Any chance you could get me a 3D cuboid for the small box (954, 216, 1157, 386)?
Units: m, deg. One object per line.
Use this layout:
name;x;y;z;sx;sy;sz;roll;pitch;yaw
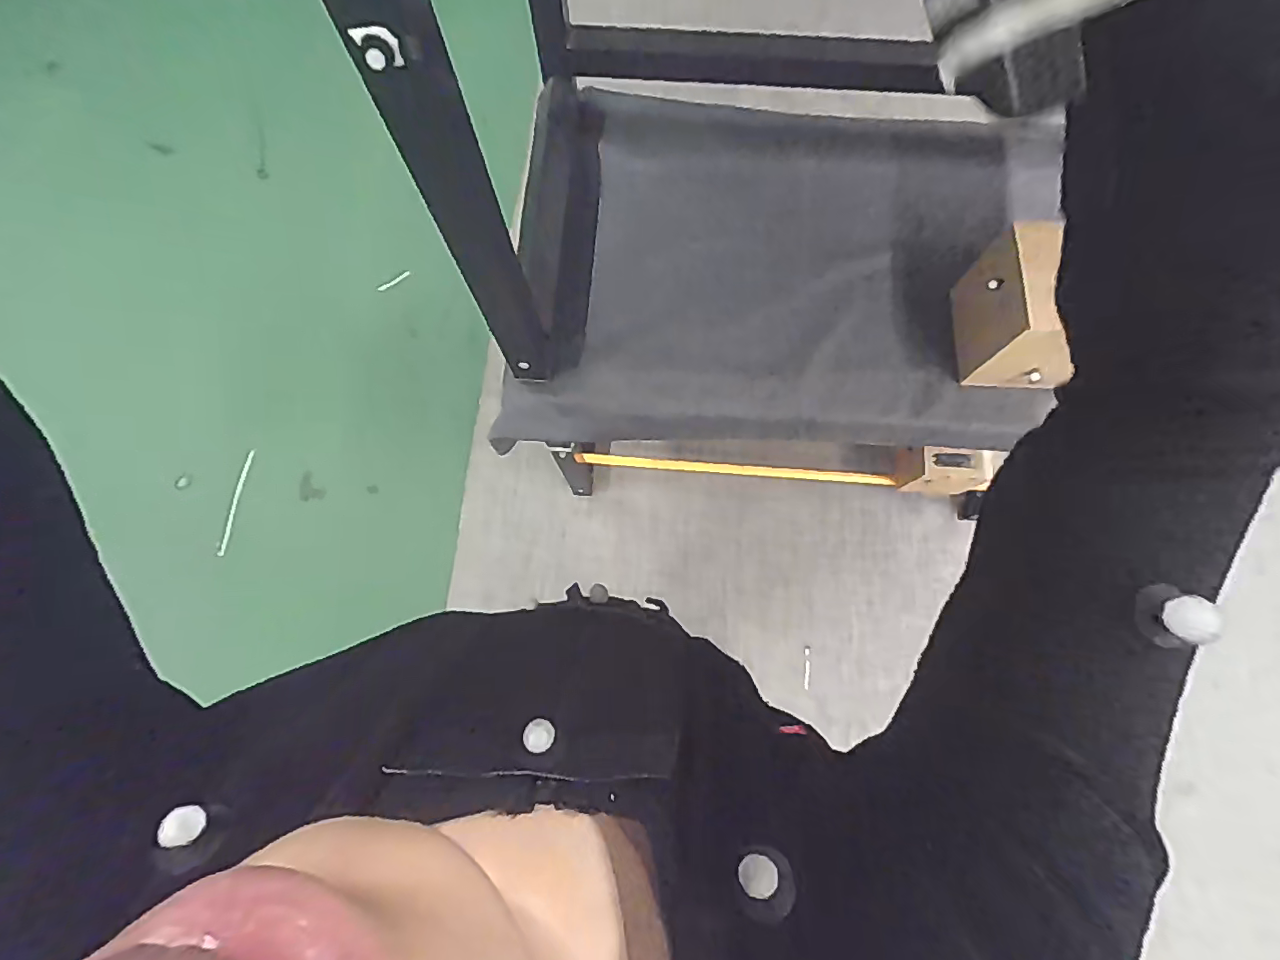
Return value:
small box;0.597;-0.260;0.806;0.168;0.176;0.179;3;73;2
